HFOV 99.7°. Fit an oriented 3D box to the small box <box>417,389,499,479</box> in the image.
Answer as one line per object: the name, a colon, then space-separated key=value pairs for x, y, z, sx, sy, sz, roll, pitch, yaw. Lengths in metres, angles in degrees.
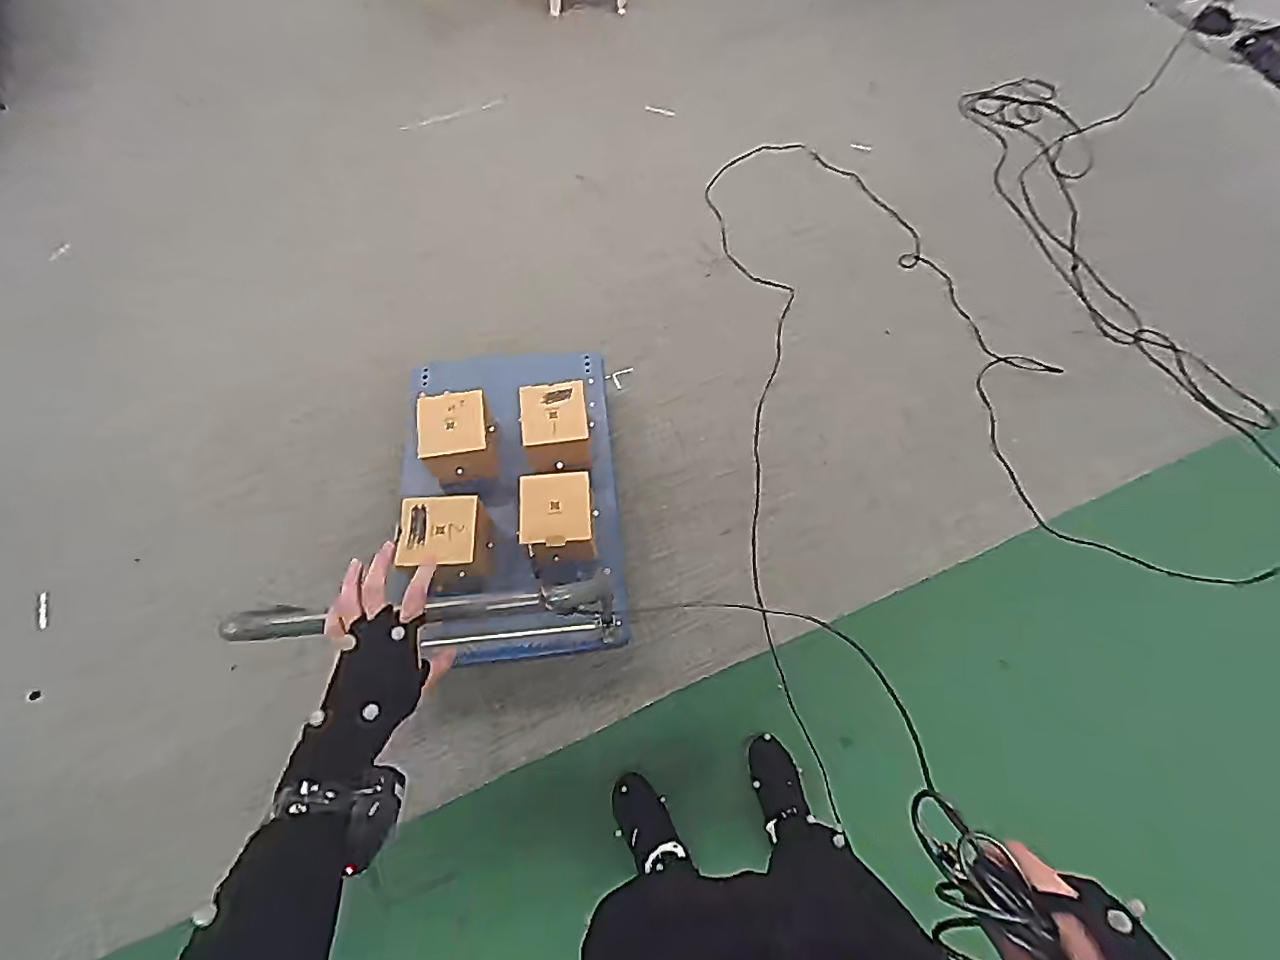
small box: x=-0.472 y=-0.112 z=1.418 sx=0.168 sy=0.176 sz=0.179 roll=-8 pitch=67 yaw=-5

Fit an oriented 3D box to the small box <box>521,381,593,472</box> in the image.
small box: x=-0.218 y=-0.140 z=1.435 sx=0.168 sy=0.176 sz=0.179 roll=-7 pitch=68 yaw=-3

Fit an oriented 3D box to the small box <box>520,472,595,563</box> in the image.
small box: x=-0.200 y=0.096 z=1.336 sx=0.168 sy=0.176 sz=0.179 roll=-4 pitch=67 yaw=-3
